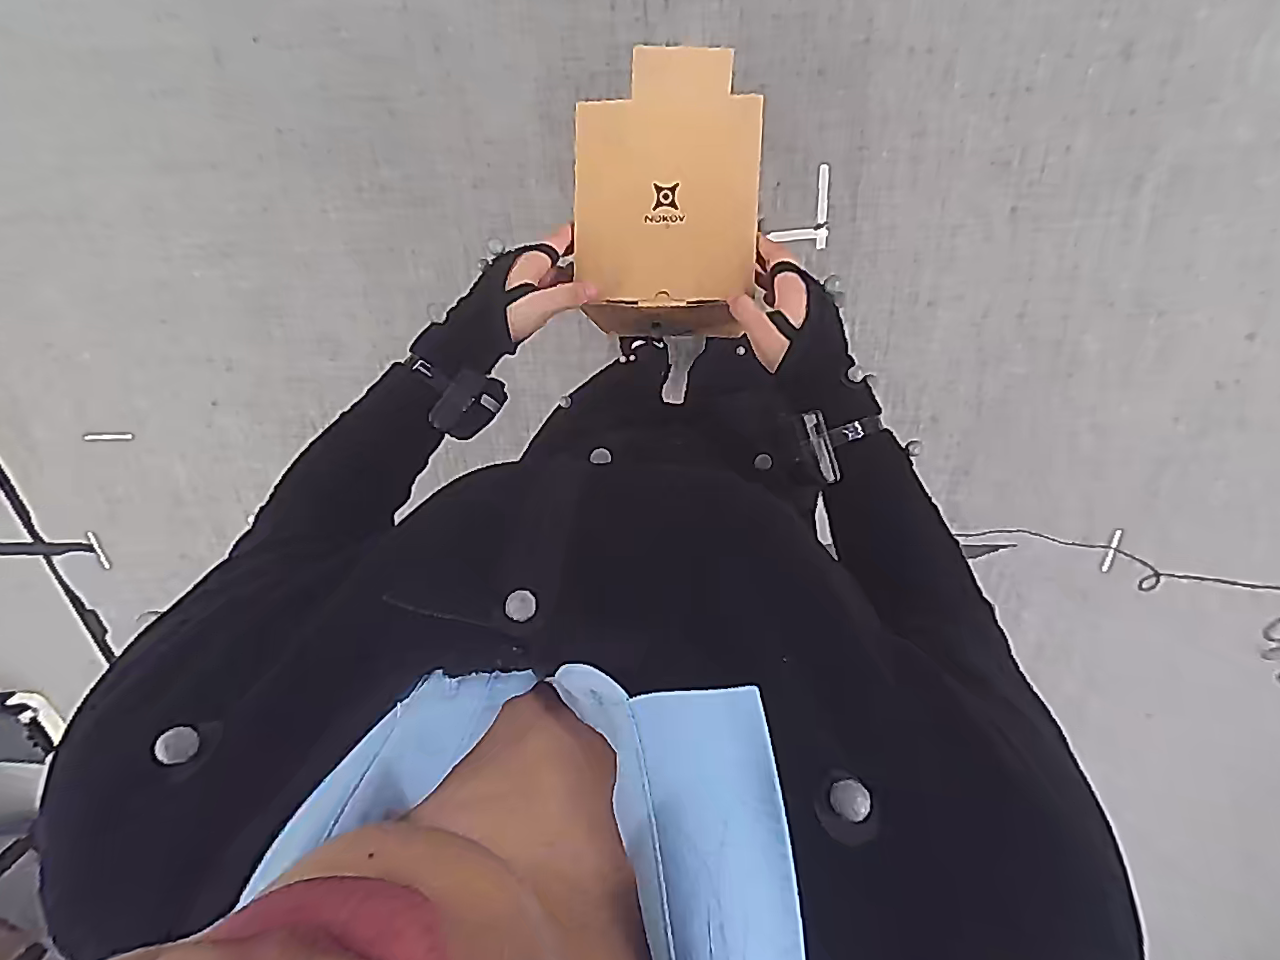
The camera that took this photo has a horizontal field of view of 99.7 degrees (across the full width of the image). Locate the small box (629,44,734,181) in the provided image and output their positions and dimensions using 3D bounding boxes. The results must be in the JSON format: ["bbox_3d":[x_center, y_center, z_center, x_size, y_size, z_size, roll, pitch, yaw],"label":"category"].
[{"bbox_3d":[0.071,-0.650,0.975,0.168,0.176,0.179,4,115,3],"label":"small box"}]
